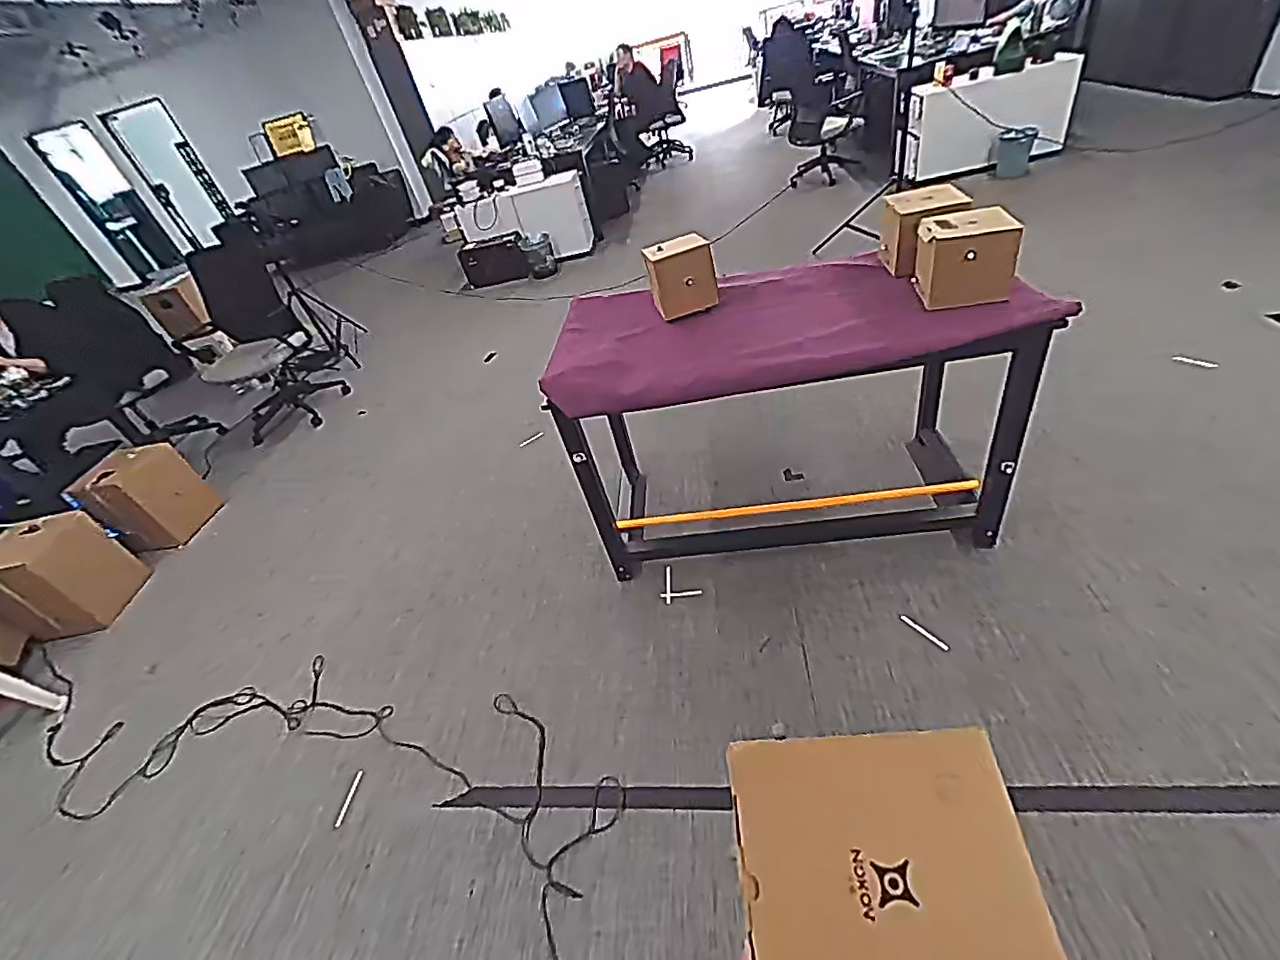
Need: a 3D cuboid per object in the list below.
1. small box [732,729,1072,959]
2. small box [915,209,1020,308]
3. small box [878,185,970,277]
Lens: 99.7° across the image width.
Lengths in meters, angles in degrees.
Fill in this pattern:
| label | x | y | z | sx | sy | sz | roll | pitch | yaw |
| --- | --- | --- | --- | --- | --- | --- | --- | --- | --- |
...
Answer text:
| label | x | y | z | sx | sy | sz | roll | pitch | yaw |
| --- | --- | --- | --- | --- | --- | --- | --- | --- | --- |
| small box | 0.166 | 0.285 | 0.397 | 0.179 | 0.176 | 0.168 | -8 | 58 | 8 |
| small box | 0.772 | -0.528 | 1.298 | 0.179 | 0.176 | 0.168 | -4 | 39 | 15 |
| small box | 0.767 | -0.679 | 1.480 | 0.179 | 0.176 | 0.168 | -7 | 41 | 11 |
